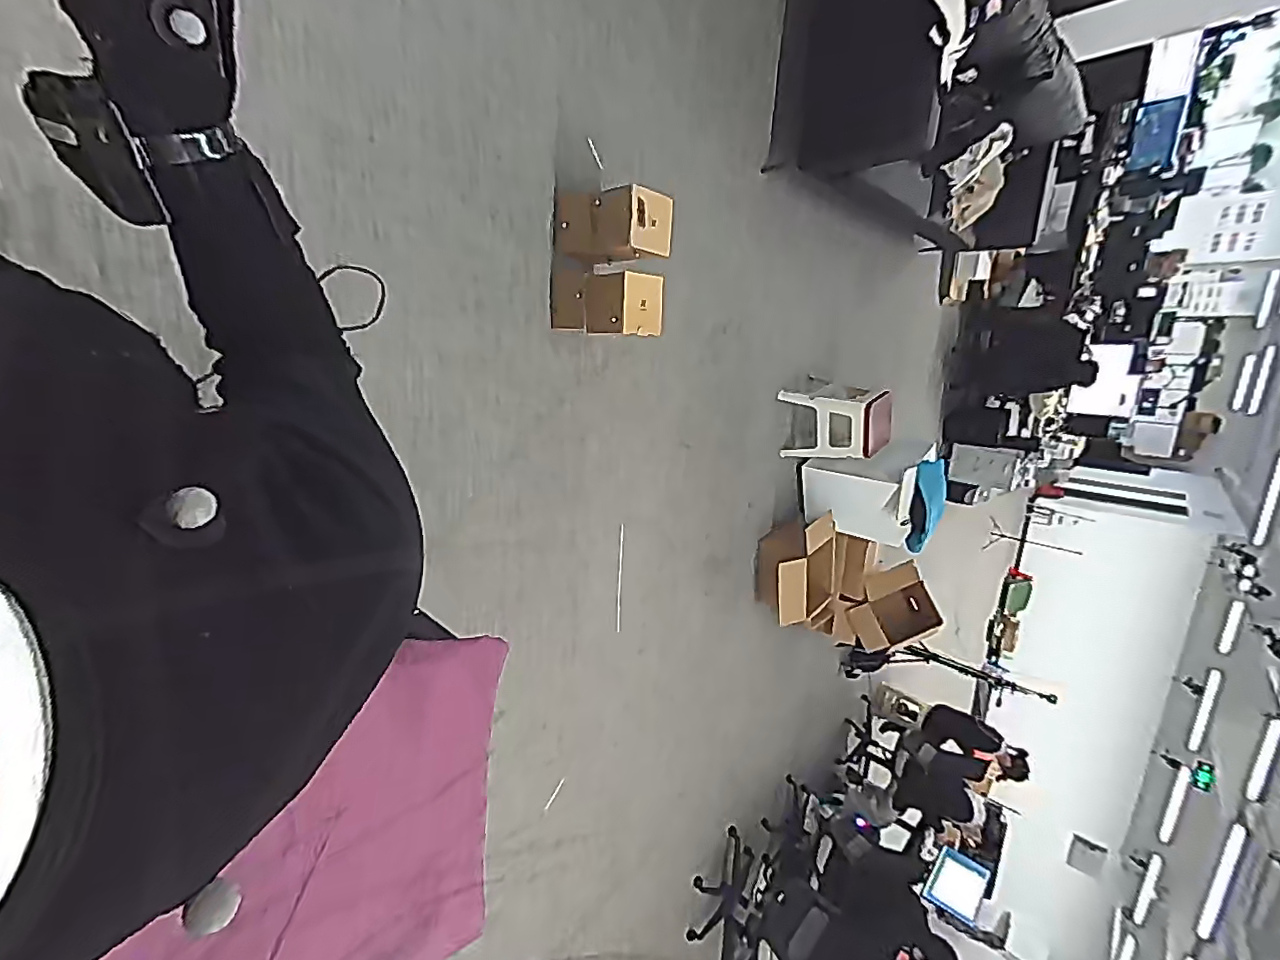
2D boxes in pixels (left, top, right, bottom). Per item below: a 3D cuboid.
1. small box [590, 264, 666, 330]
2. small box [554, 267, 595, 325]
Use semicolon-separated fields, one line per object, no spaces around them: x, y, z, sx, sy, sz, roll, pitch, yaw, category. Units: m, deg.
-0.040;-0.555;1.654;0.168;0.176;0.179;-12;111;-44;small box
-0.159;-0.593;1.759;0.179;0.176;0.168;-12;110;-45;small box
